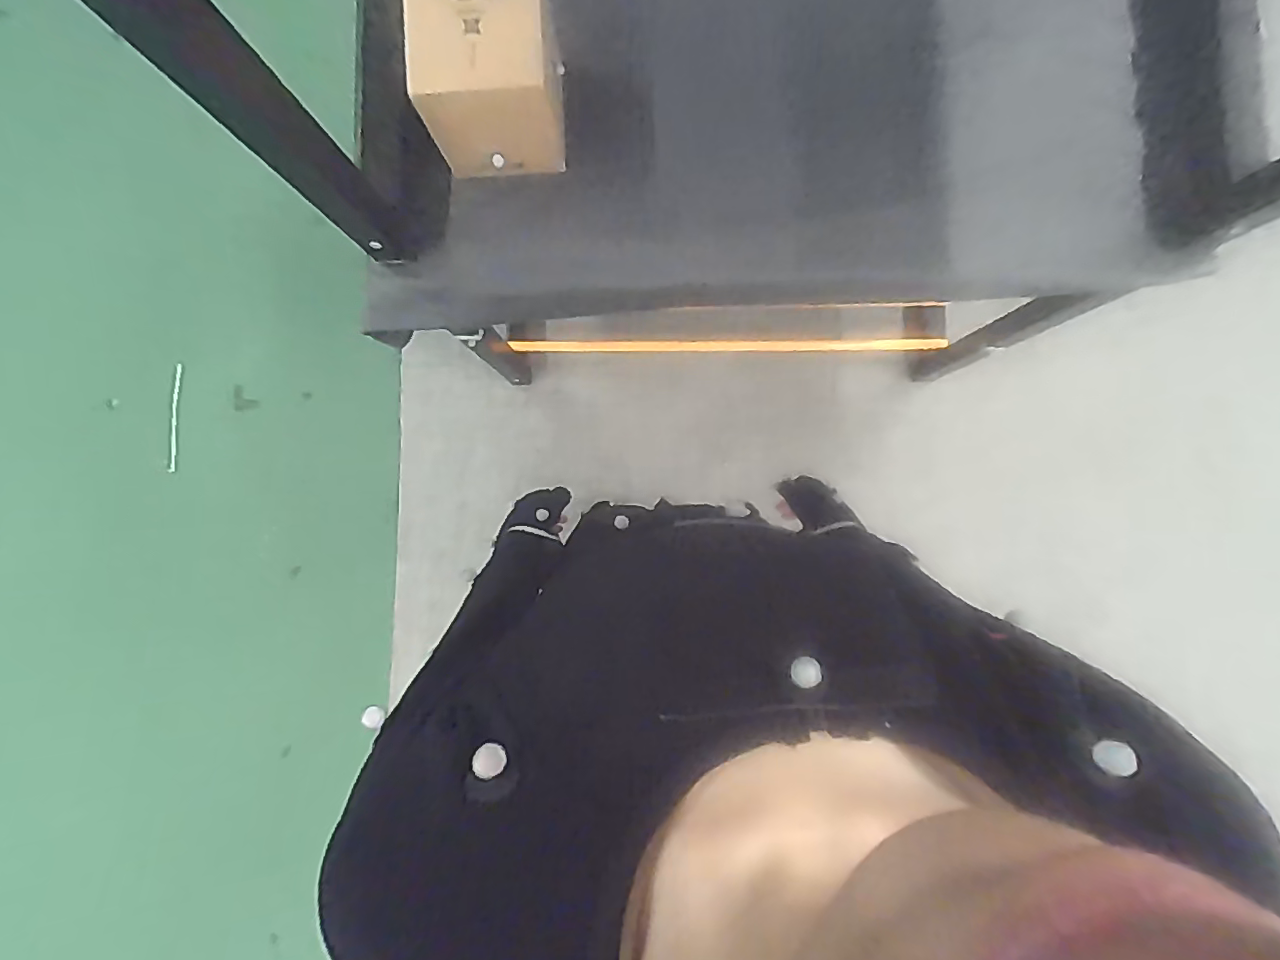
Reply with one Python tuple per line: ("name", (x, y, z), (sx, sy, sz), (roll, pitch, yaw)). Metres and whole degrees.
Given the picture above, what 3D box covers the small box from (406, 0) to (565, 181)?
("small box", (-0.196, -0.537, 0.723), (0.168, 0.176, 0.179), (-3, 87, 2))
